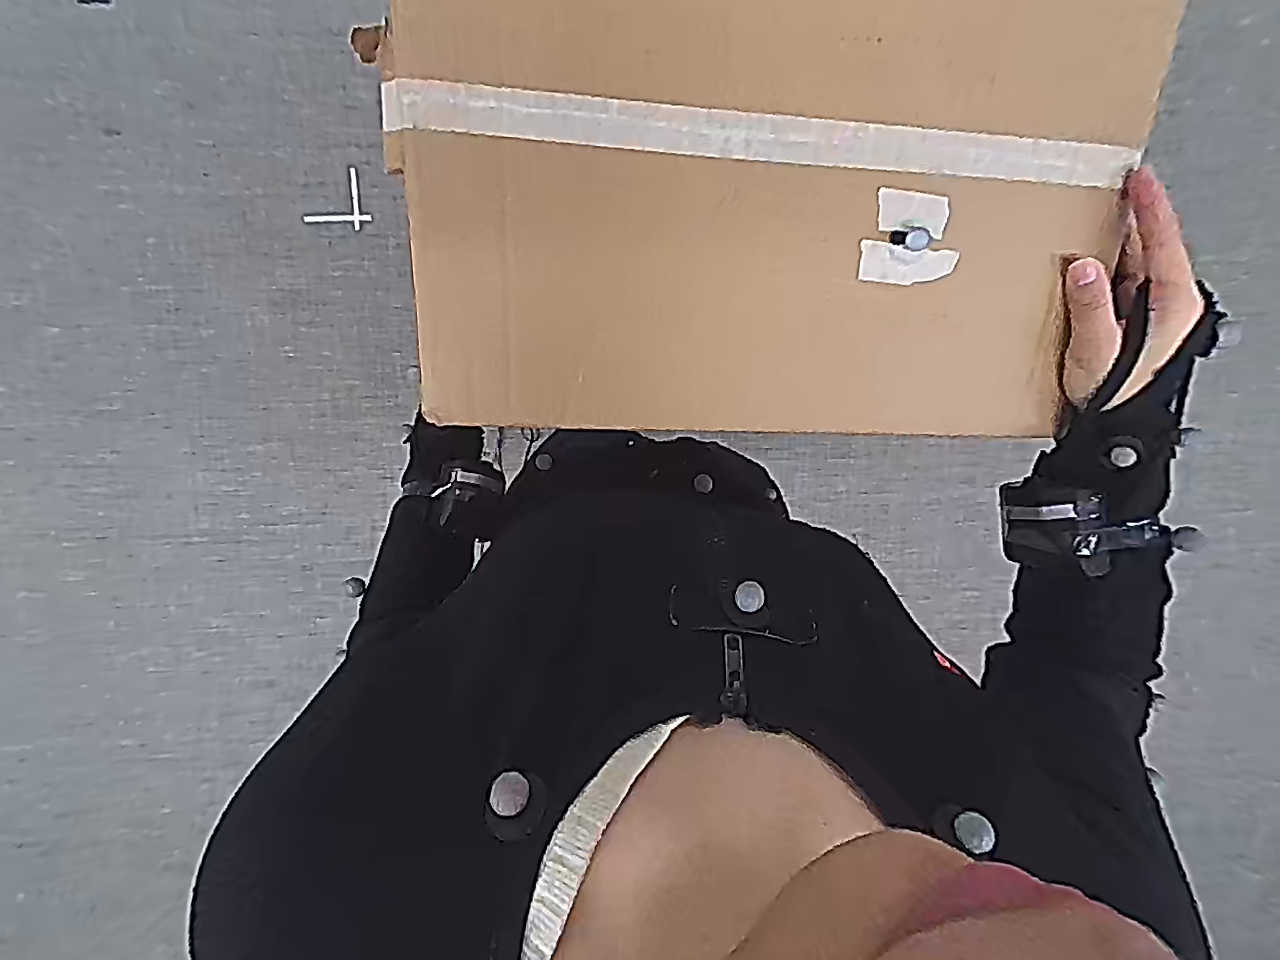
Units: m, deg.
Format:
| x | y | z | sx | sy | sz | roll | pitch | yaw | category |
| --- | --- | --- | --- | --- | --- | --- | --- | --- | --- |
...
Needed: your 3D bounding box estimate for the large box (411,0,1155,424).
| x | y | z | sx | sy | sz | roll | pitch | yaw | category |
| --- | --- | --- | --- | --- | --- | --- | --- | --- | --- |
| 0.063 | -0.226 | 0.438 | 0.408 | 0.320 | 0.320 | 0 | 107 | -9 | large box |
